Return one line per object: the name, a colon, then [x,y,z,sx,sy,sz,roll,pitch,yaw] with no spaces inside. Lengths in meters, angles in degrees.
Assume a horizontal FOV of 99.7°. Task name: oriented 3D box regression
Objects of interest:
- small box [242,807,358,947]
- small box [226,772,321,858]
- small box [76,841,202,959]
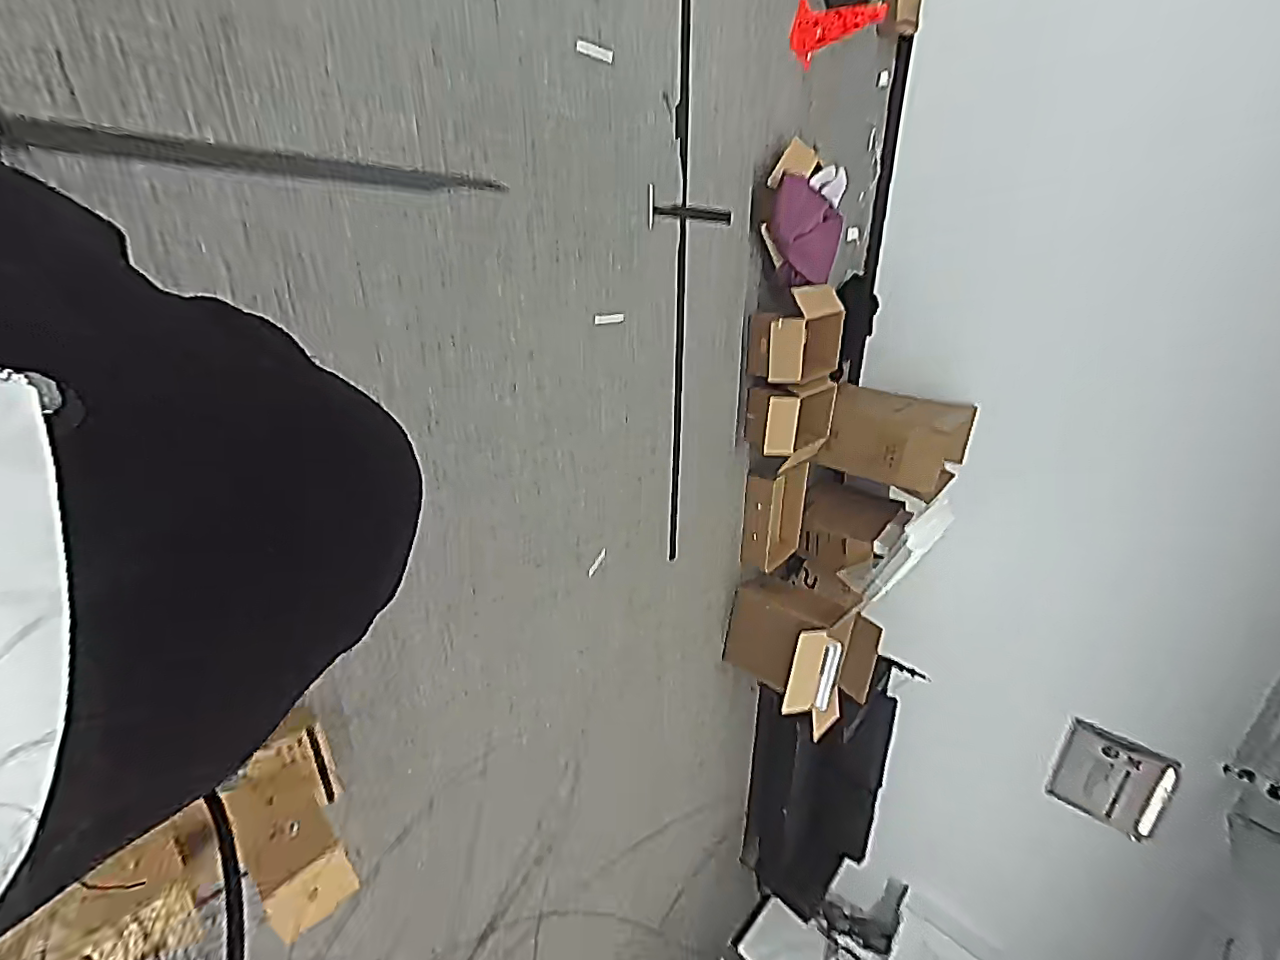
small box: [-0.806,0.930,1.284,0.168,0.176,0.179,-29,125,-40]
small box: [-0.928,0.888,1.384,0.168,0.176,0.179,-20,120,-43]
small box: [-1.110,0.962,1.201,0.168,0.176,0.179,-19,119,-45]
